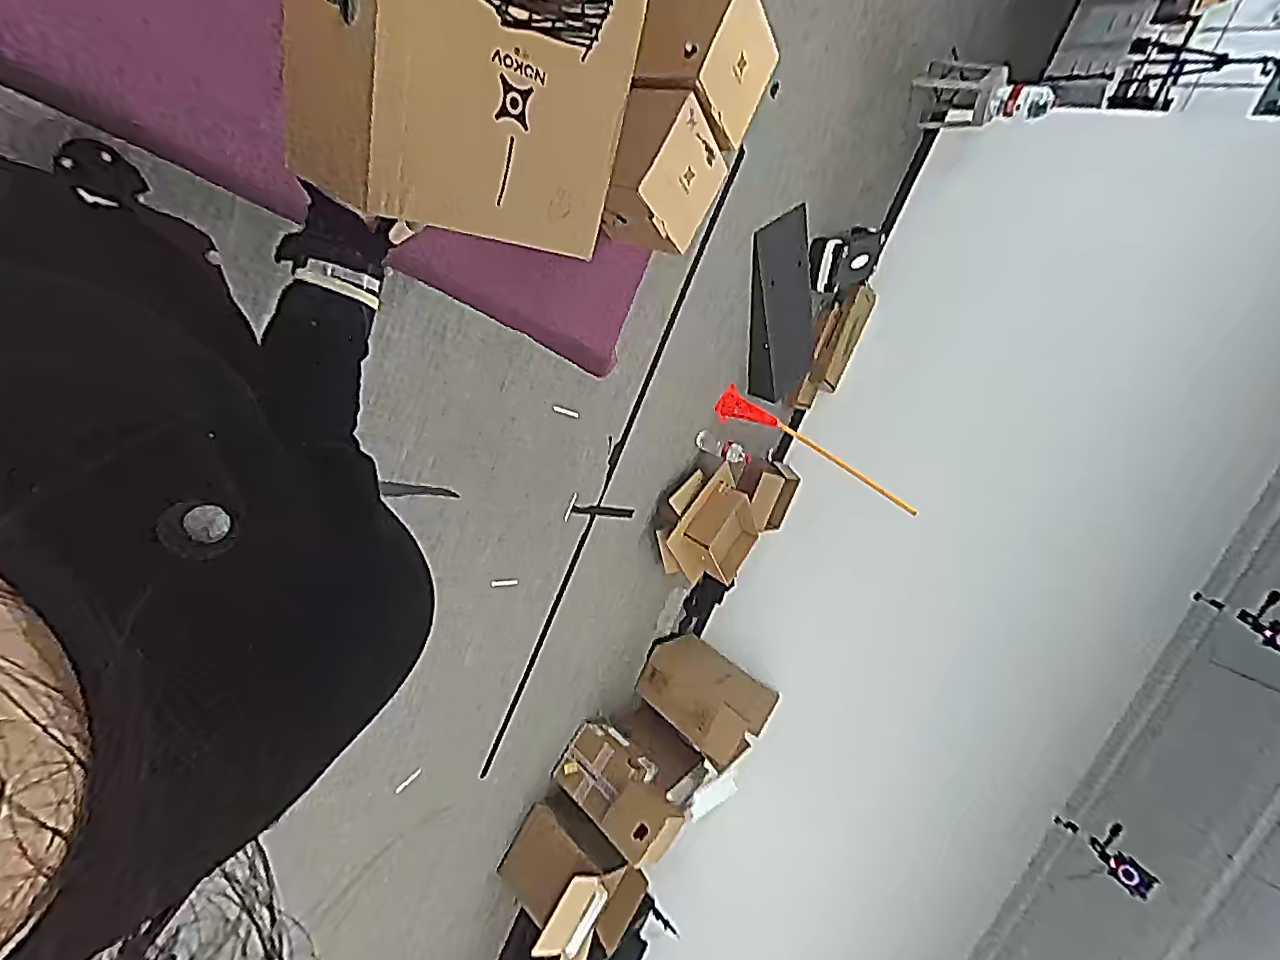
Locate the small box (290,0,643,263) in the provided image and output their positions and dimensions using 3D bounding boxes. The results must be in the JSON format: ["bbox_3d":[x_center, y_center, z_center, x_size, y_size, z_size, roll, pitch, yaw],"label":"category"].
[{"bbox_3d":[-0.130,-0.274,0.380,0.168,0.176,0.179,-10,126,-45],"label":"small box"}]

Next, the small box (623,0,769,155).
[{"bbox_3d":[0.086,-0.687,0.906,0.168,0.176,0.179,18,98,-59],"label":"small box"}]
